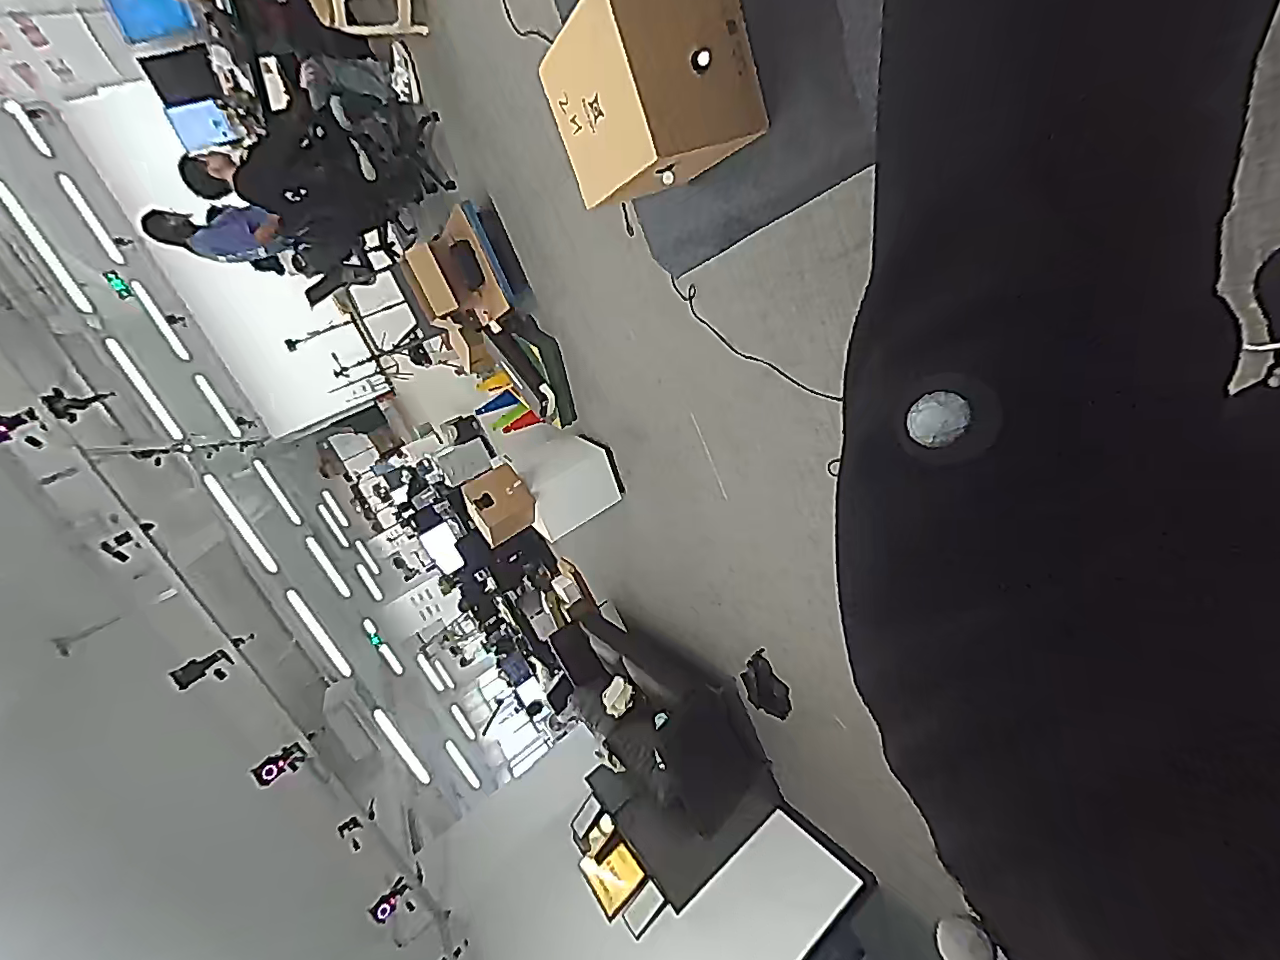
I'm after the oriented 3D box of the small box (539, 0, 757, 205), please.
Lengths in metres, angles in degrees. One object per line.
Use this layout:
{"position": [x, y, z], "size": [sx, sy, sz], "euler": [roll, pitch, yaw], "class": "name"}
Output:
{"position": [0.014, -0.452, 0.629], "size": [0.179, 0.176, 0.168], "euler": [13, 129, 59], "class": "small box"}
